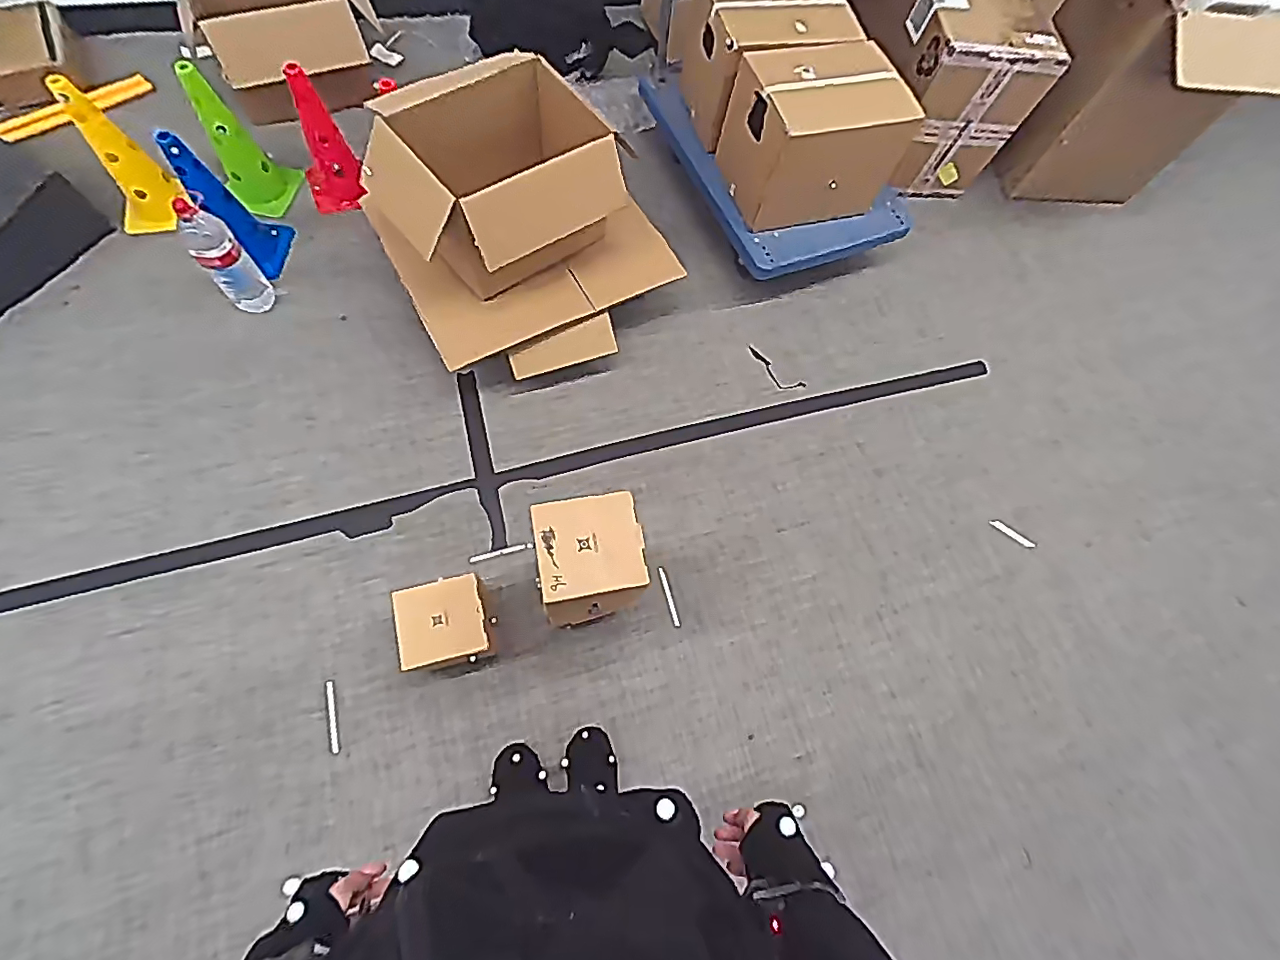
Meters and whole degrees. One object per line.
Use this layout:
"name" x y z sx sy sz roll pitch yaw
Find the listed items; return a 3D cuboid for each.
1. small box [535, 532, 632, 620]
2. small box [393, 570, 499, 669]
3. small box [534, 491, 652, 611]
"small box" -0.112 0.184 1.113 0.179 0.176 0.168 -11 72 -12
"small box" -0.424 0.315 1.201 0.179 0.176 0.168 -13 72 -12
"small box" -0.091 0.130 0.959 0.179 0.176 0.168 -8 71 -12
